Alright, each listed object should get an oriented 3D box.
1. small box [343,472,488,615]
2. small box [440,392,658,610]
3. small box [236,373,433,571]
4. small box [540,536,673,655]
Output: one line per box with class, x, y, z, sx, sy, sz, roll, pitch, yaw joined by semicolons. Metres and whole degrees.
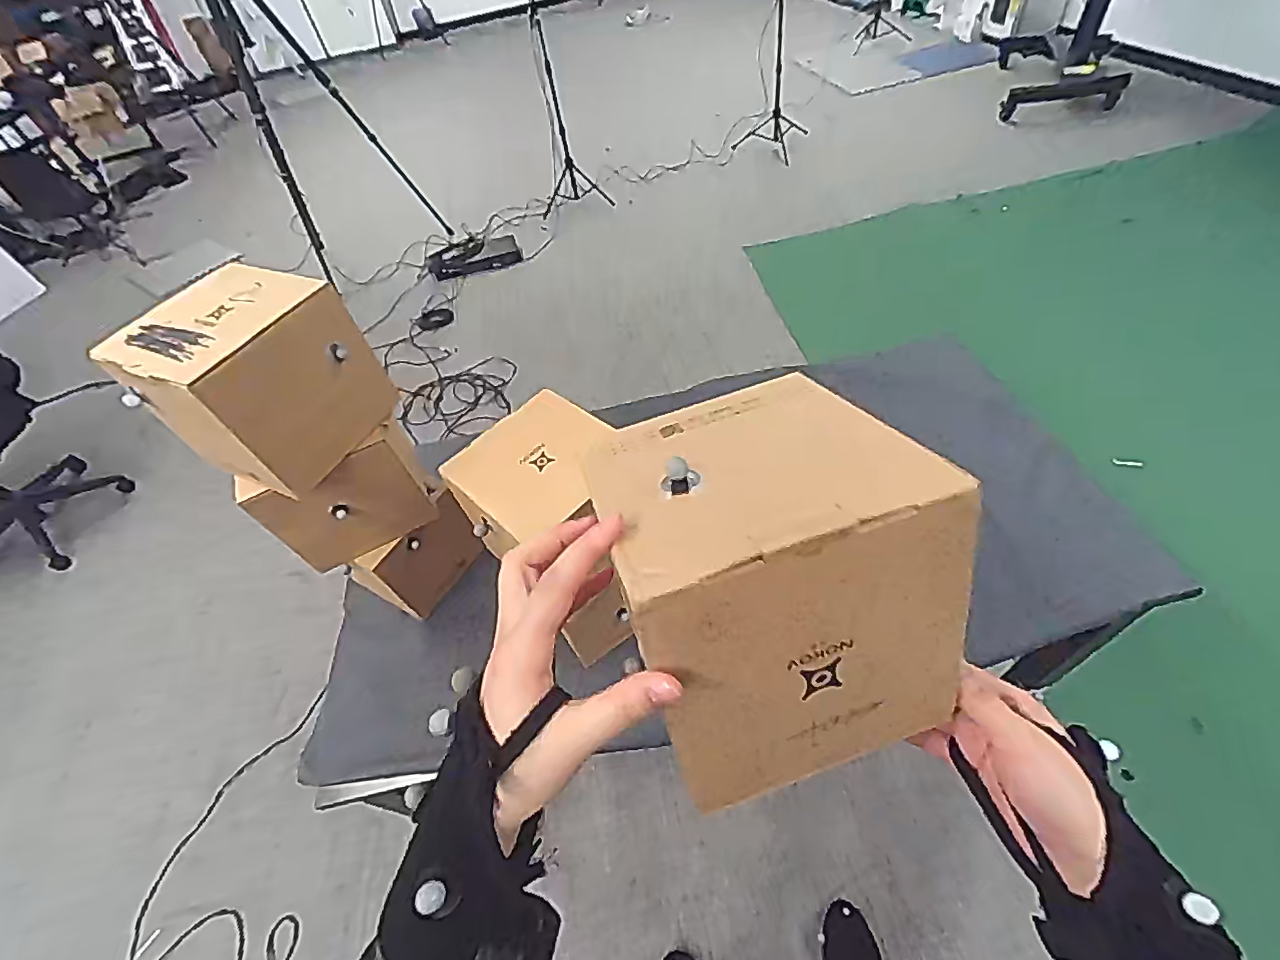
small box;-0.382;0.091;0.871;0.179;0.176;0.168;20;57;24
small box;-0.096;0.031;0.652;0.179;0.176;0.168;33;63;32
small box;-0.405;-0.009;0.741;0.179;0.176;0.168;-28;53;-12
small box;-0.068;0.127;0.780;0.168;0.176;0.179;-33;52;-16
